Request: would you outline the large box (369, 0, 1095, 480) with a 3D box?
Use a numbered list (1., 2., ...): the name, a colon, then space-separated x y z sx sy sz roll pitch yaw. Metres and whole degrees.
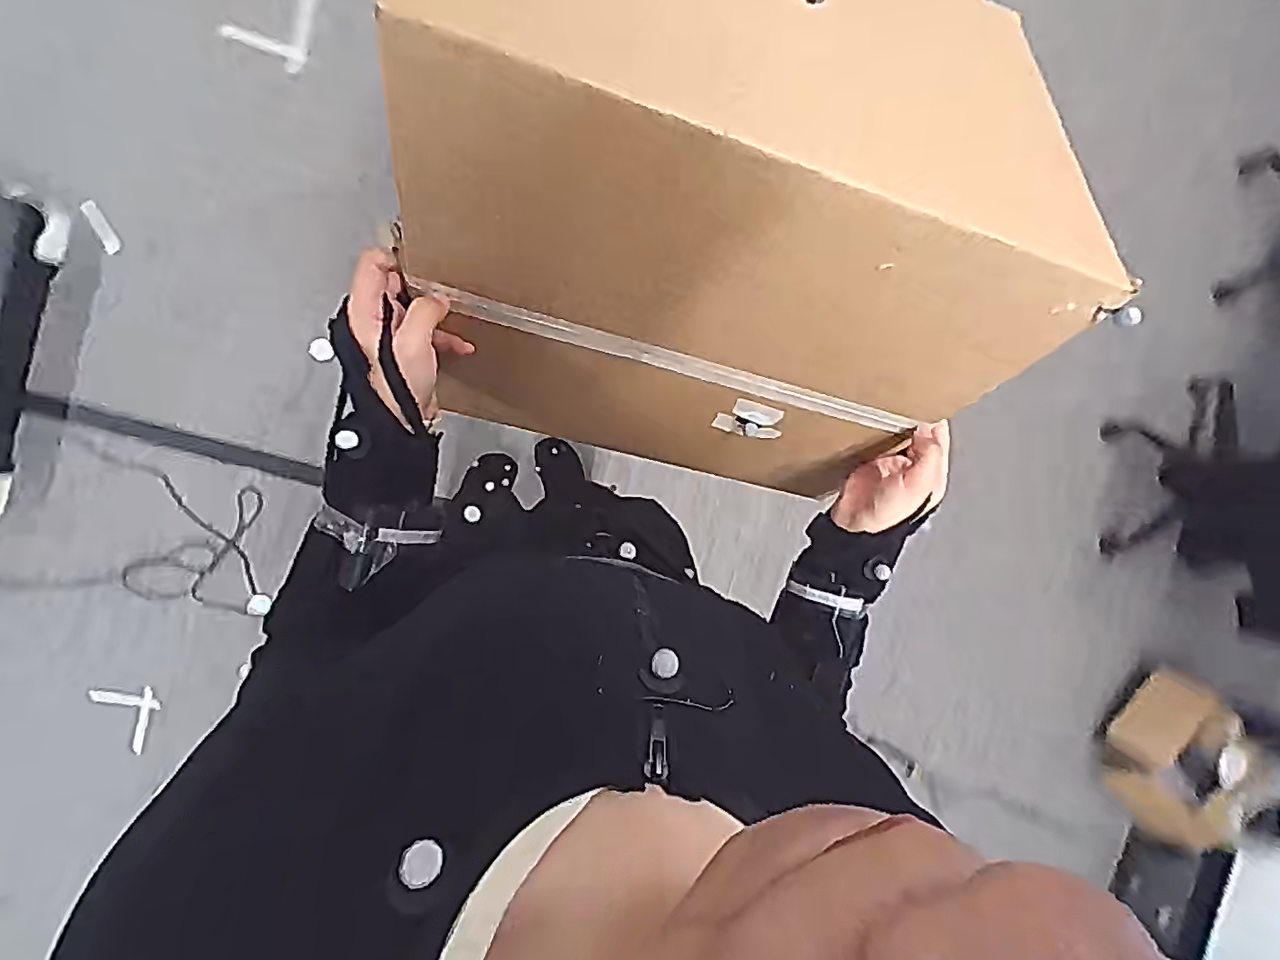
1. large box: 0.043 -0.229 0.469 0.408 0.320 0.320 11 64 -12
